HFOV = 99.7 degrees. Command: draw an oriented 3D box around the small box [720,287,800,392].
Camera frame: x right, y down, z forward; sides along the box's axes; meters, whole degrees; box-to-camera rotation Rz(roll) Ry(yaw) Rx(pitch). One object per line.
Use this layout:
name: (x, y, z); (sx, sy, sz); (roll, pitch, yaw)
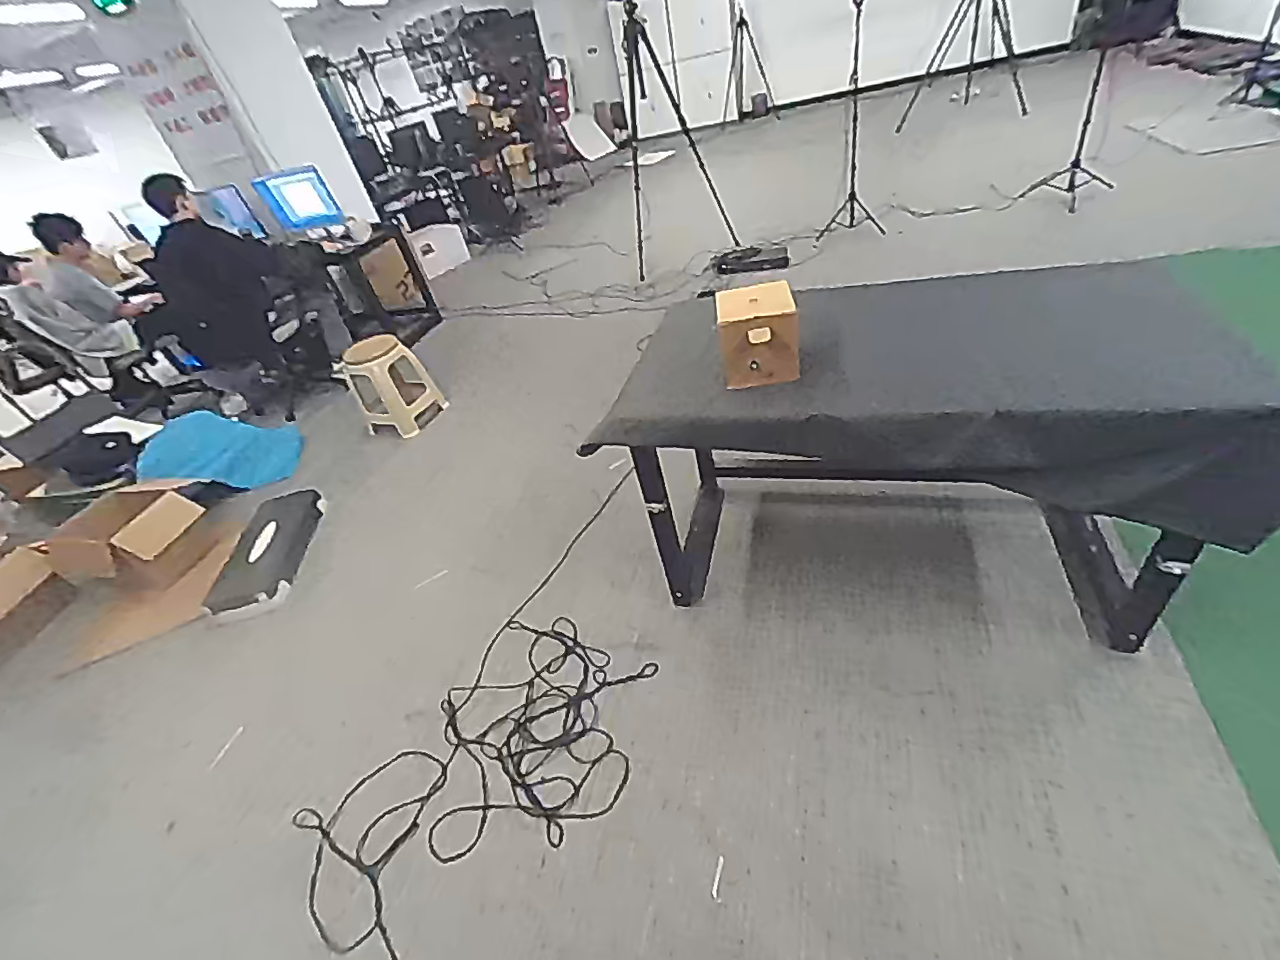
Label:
small box: (0.274, -0.323, 1.248); (0.168, 0.176, 0.179); (-6, 39, 11)
